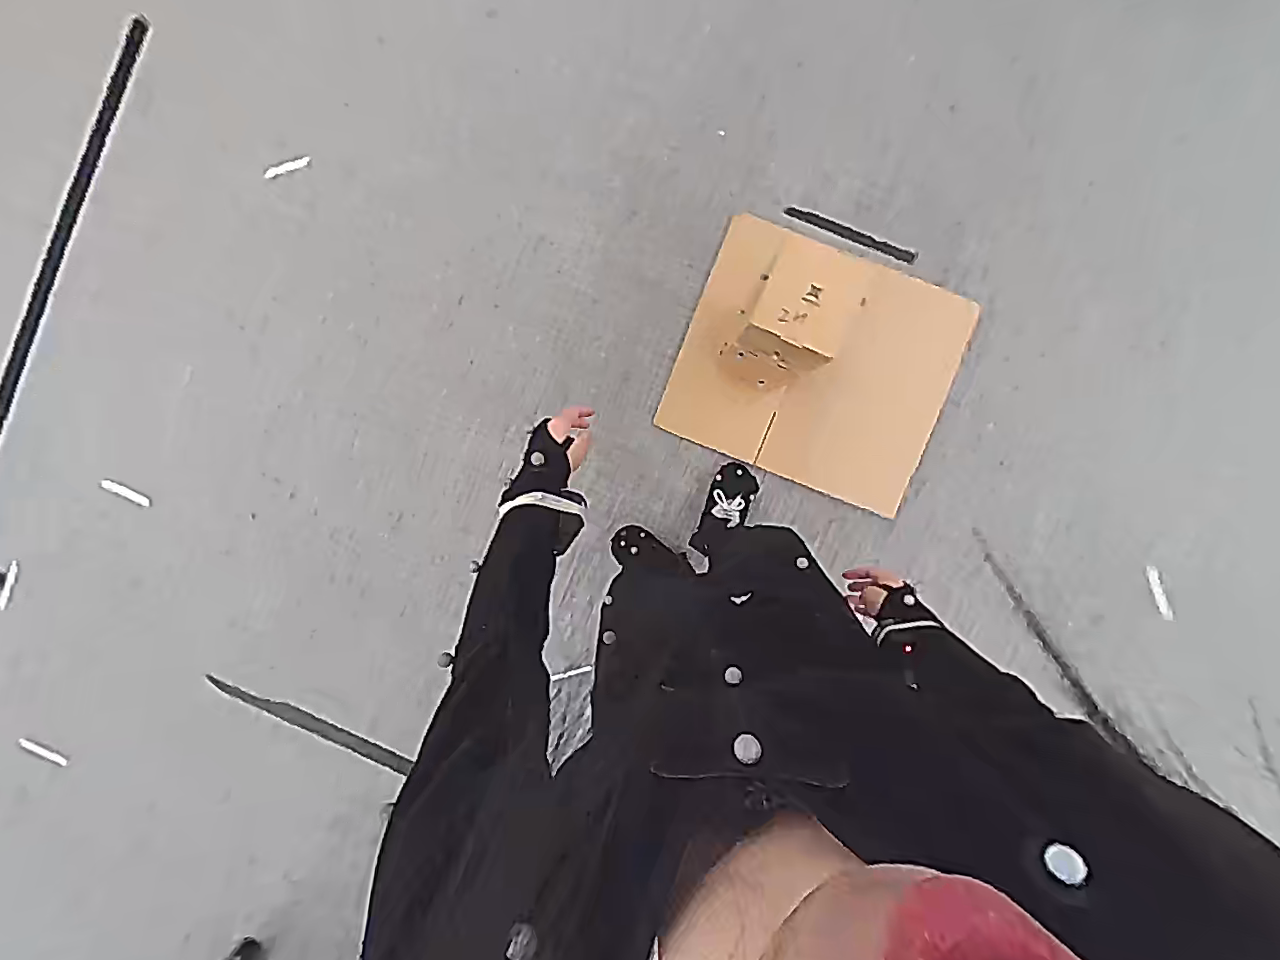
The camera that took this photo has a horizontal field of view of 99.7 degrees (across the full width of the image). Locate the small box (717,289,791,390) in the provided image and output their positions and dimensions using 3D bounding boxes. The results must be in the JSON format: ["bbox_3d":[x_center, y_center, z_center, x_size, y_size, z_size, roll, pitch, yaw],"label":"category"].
[{"bbox_3d":[0.305,-0.341,1.355,0.168,0.176,0.179,26,93,-1],"label":"small box"}]

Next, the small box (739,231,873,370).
[{"bbox_3d":[0.301,-0.328,1.026,0.168,0.176,0.179,24,94,0],"label":"small box"}]
